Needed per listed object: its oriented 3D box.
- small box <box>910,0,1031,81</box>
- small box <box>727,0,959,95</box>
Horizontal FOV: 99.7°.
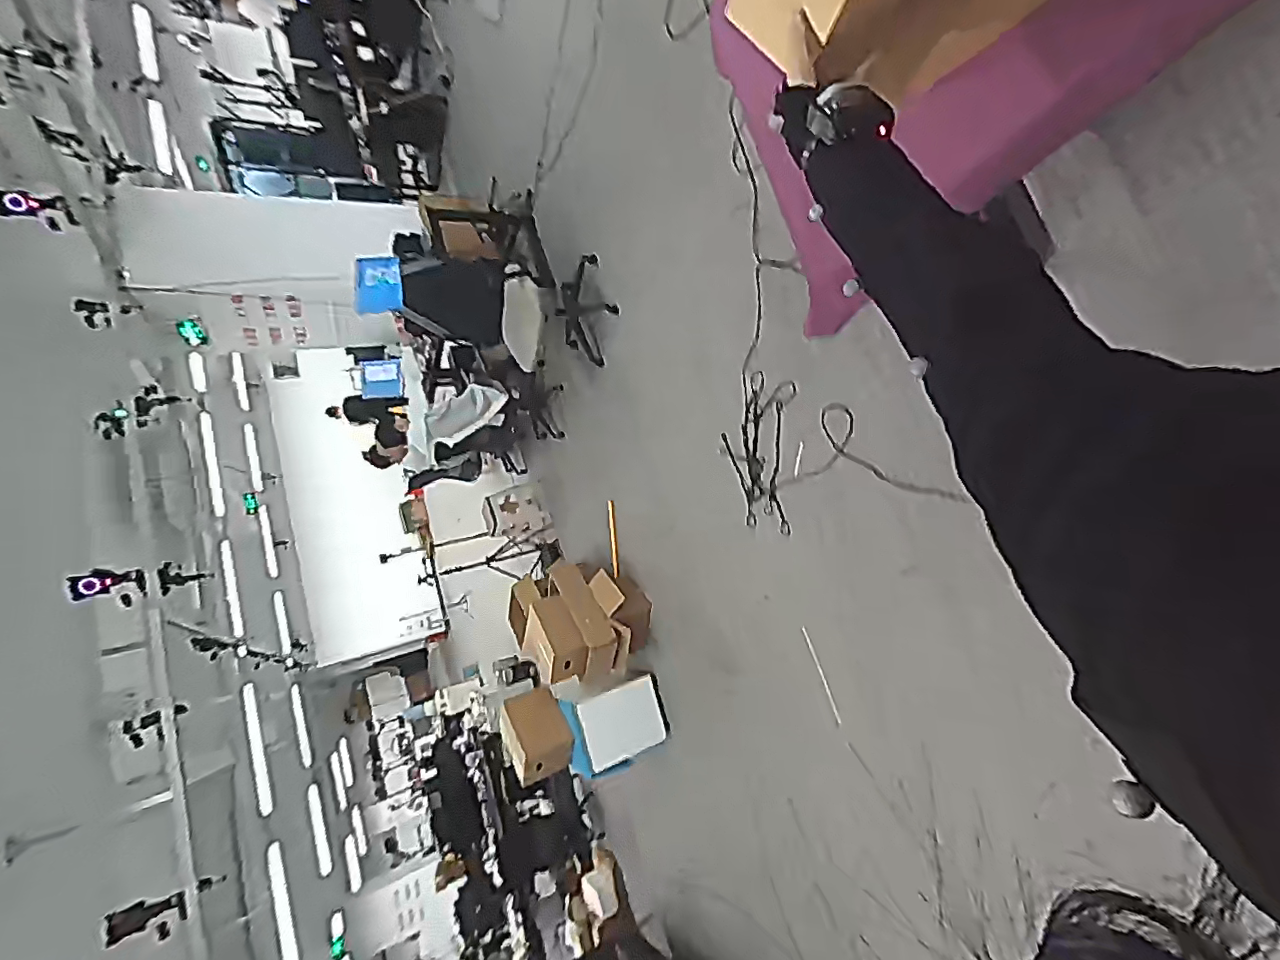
[{"bbox_3d":[0.354,-0.628,0.652,0.179,0.176,0.168,-10,92,60],"label":"small box"},{"bbox_3d":[0.229,-0.543,0.566,0.168,0.176,0.179,60,149,22],"label":"small box"}]
